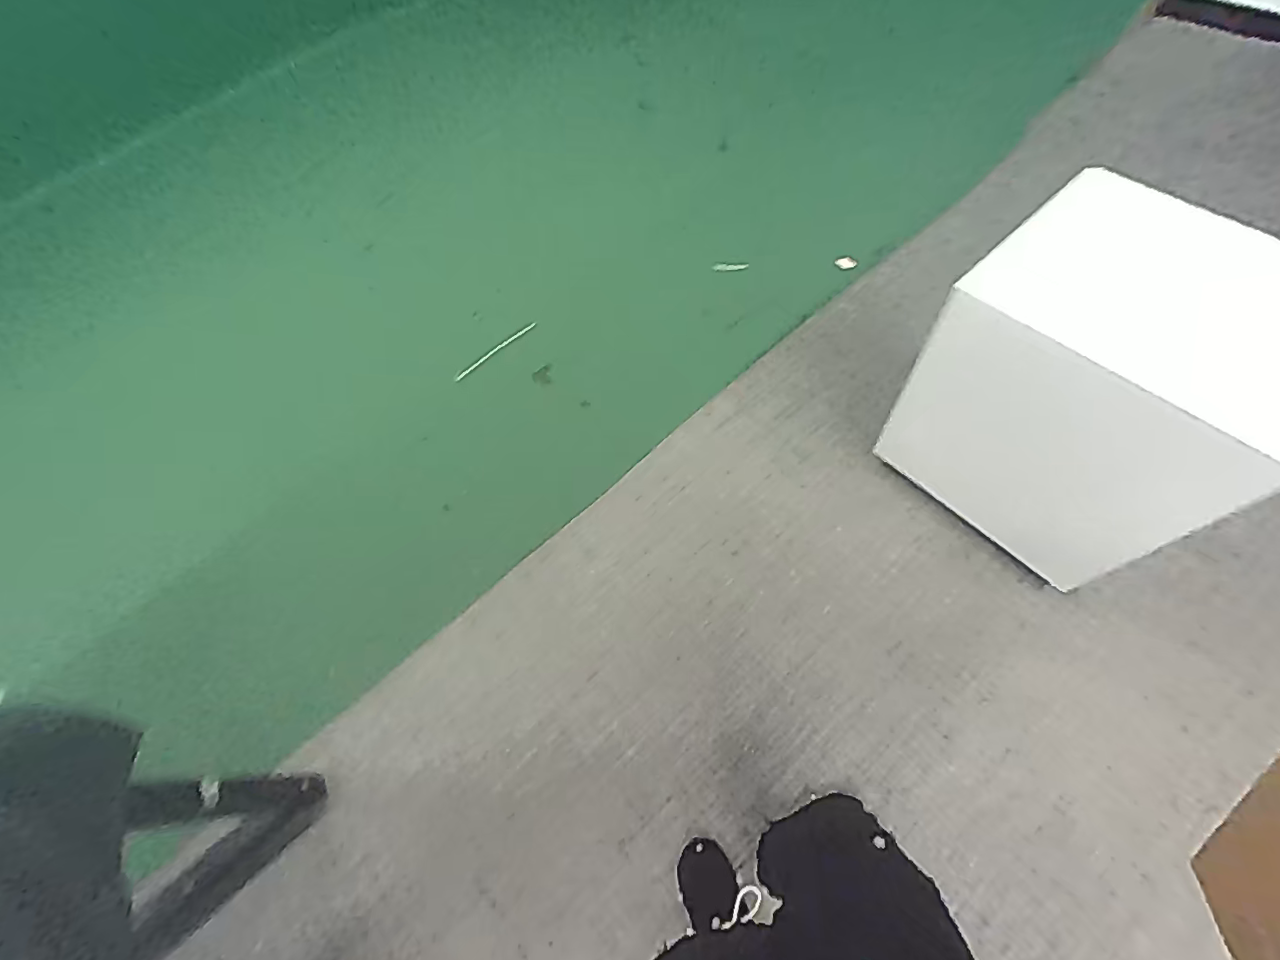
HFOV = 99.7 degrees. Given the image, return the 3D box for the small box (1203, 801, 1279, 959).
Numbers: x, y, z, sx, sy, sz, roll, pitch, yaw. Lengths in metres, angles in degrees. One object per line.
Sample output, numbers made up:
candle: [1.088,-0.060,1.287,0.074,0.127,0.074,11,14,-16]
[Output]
small box: [0.641,0.401,0.452,0.168,0.179,0.176,25,113,25]
